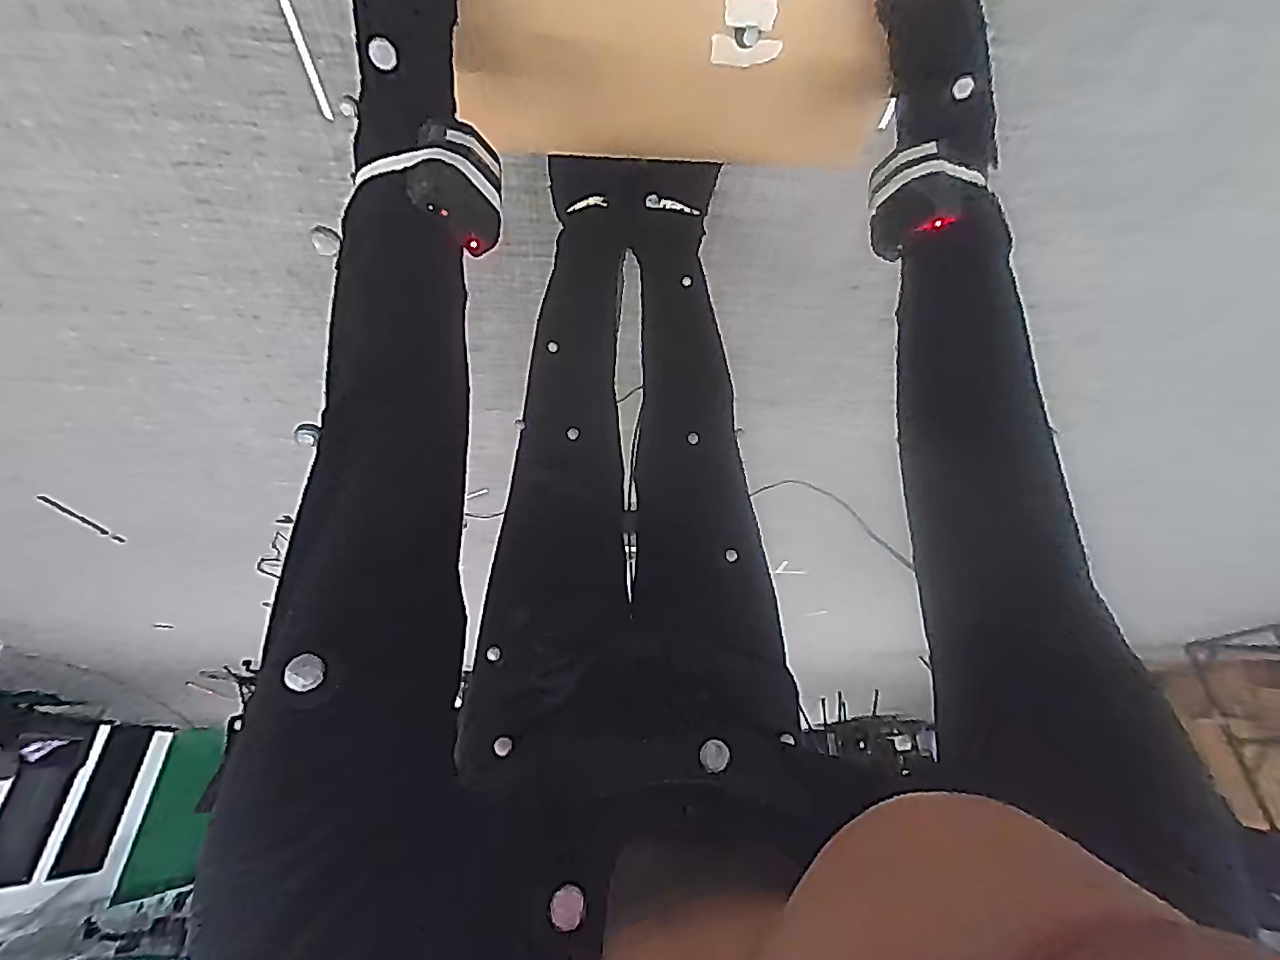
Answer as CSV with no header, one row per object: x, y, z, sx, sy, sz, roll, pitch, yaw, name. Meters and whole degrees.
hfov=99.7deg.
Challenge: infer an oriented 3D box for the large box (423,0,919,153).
0.022,-0.528,0.469,0.408,0.320,0.320,0,152,-4,large box
